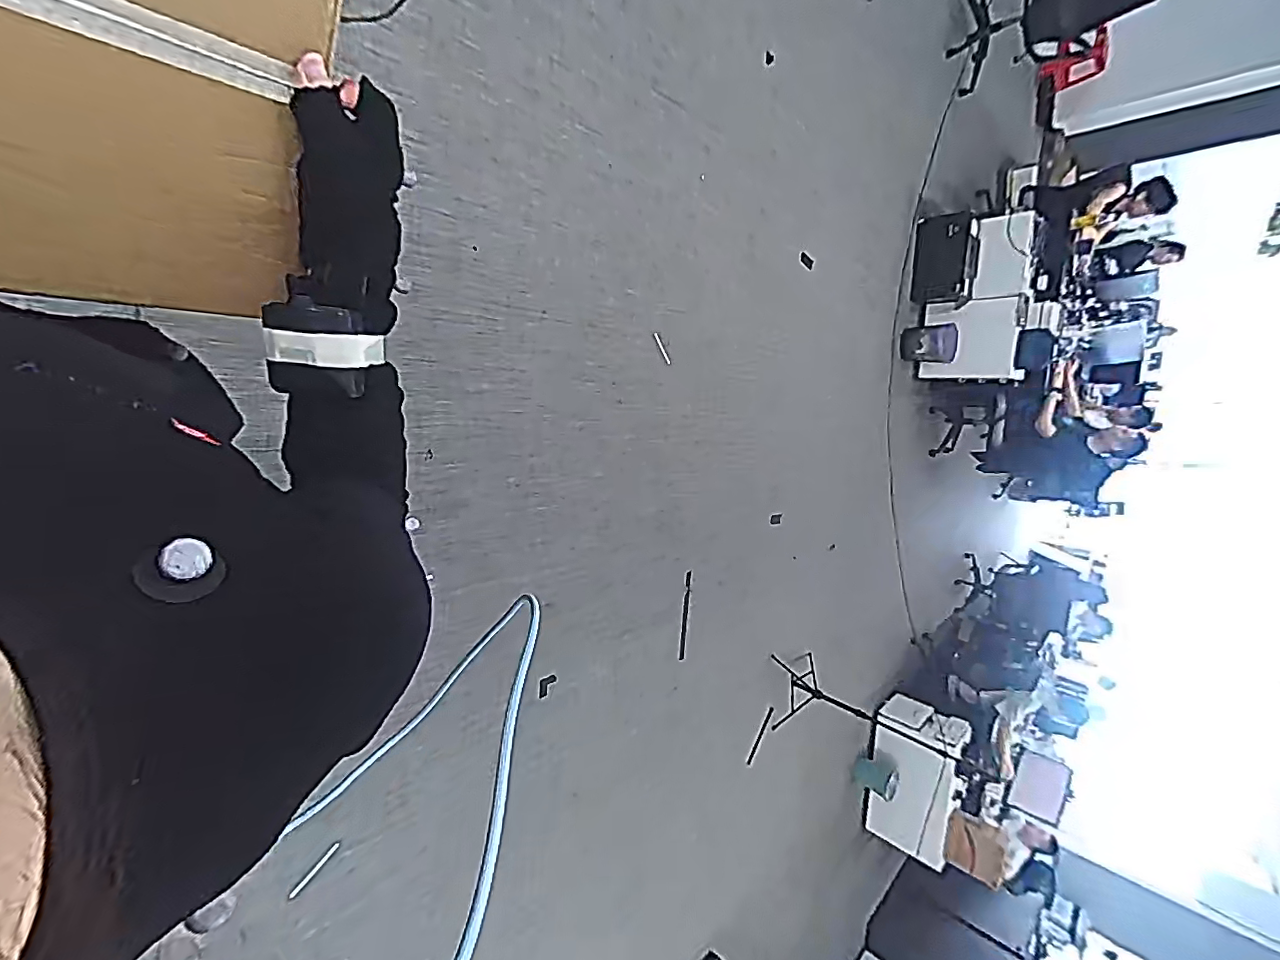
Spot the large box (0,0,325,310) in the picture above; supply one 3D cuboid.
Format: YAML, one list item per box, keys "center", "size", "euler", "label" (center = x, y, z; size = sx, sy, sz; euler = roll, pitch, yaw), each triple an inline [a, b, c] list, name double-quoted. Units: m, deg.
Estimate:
- center: [-0.429, -0.322, 0.273]
  size: [0.408, 0.320, 0.320]
  euler: [-8, 138, -46]
  label: "large box"
